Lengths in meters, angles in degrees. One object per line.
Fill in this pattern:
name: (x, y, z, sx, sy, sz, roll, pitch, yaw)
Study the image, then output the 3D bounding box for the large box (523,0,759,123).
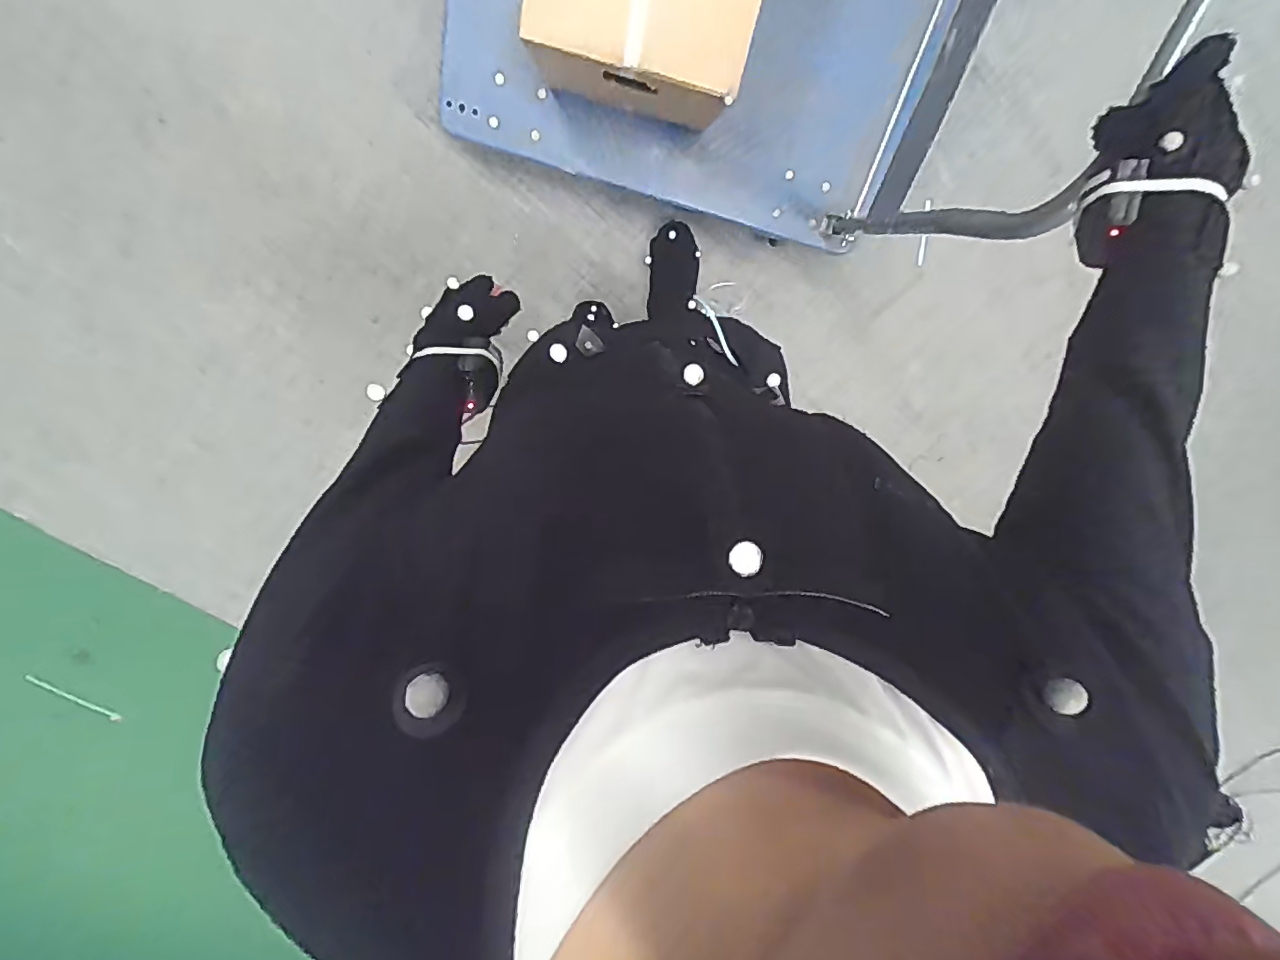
large box: (0.025, -0.819, 0.804, 0.320, 0.320, 0.408, 12, 116, -6)
